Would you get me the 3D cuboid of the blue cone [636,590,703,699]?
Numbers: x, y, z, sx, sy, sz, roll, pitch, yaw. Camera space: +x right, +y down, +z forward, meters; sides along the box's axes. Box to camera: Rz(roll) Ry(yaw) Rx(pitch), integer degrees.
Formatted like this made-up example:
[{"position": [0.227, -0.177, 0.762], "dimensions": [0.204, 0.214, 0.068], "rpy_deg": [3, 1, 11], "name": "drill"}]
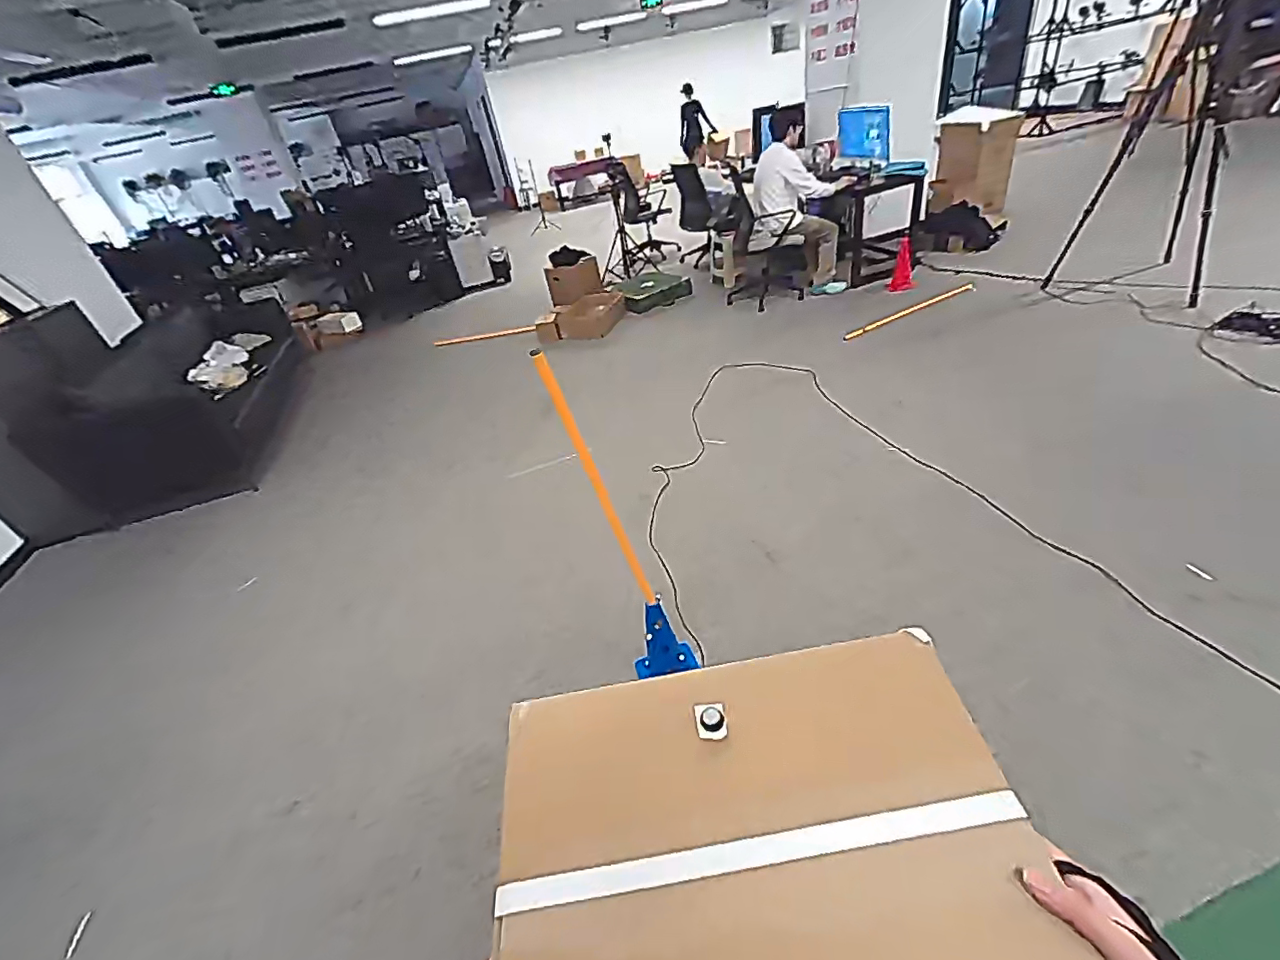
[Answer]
[{"position": [0.063, 0.487, 1.677], "dimensions": [0.193, 0.380, 0.192], "rpy_deg": [-21, 36, -10], "name": "blue cone"}]
